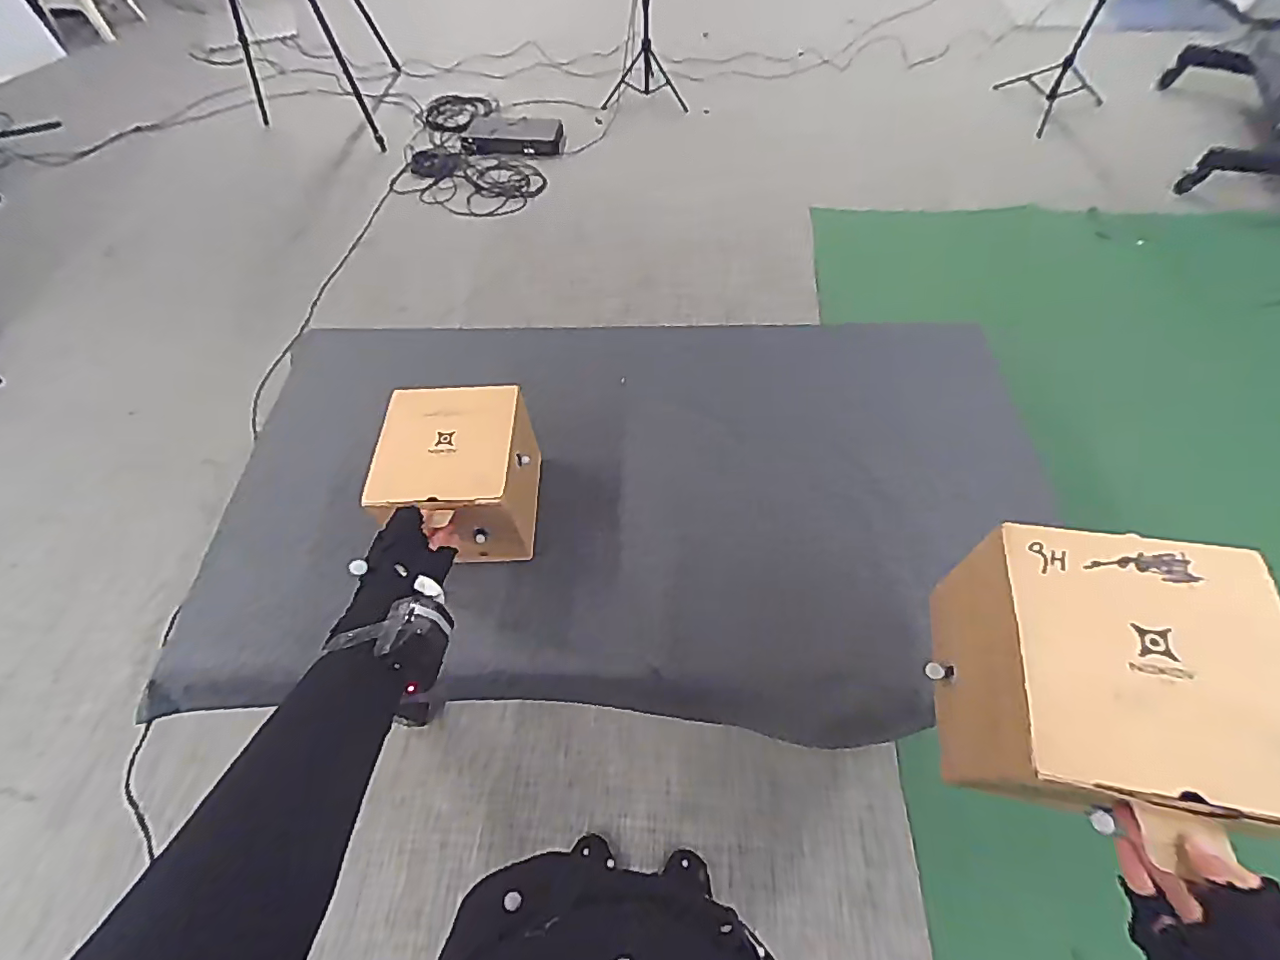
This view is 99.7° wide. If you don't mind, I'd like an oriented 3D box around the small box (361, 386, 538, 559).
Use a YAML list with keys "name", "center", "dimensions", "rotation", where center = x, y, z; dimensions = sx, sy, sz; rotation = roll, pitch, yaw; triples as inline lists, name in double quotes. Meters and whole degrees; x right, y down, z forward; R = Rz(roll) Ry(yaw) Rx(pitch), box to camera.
- name: "small box"
  center: [-0.235, -0.003, 0.722]
  dimensions: [0.168, 0.176, 0.179]
  rotation: [-2, 56, 0]
